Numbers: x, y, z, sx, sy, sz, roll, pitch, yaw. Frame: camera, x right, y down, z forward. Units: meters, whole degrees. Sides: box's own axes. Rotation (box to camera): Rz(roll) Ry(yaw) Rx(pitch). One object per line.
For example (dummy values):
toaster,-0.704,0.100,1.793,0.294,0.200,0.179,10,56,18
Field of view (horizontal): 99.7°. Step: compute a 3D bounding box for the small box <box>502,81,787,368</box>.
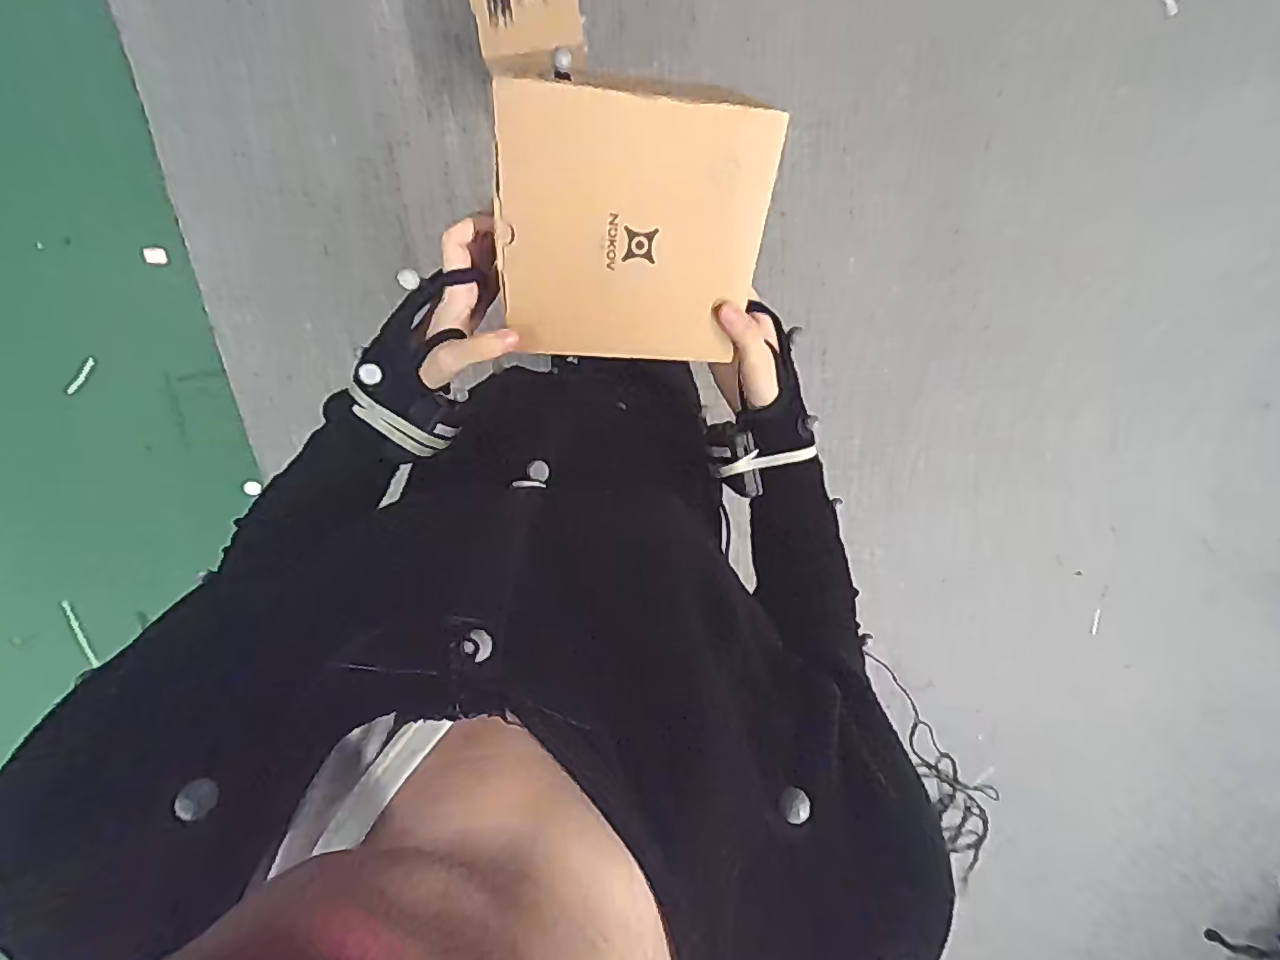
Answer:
small box,-0.011,-0.204,0.429,0.179,0.176,0.168,0,129,-8
